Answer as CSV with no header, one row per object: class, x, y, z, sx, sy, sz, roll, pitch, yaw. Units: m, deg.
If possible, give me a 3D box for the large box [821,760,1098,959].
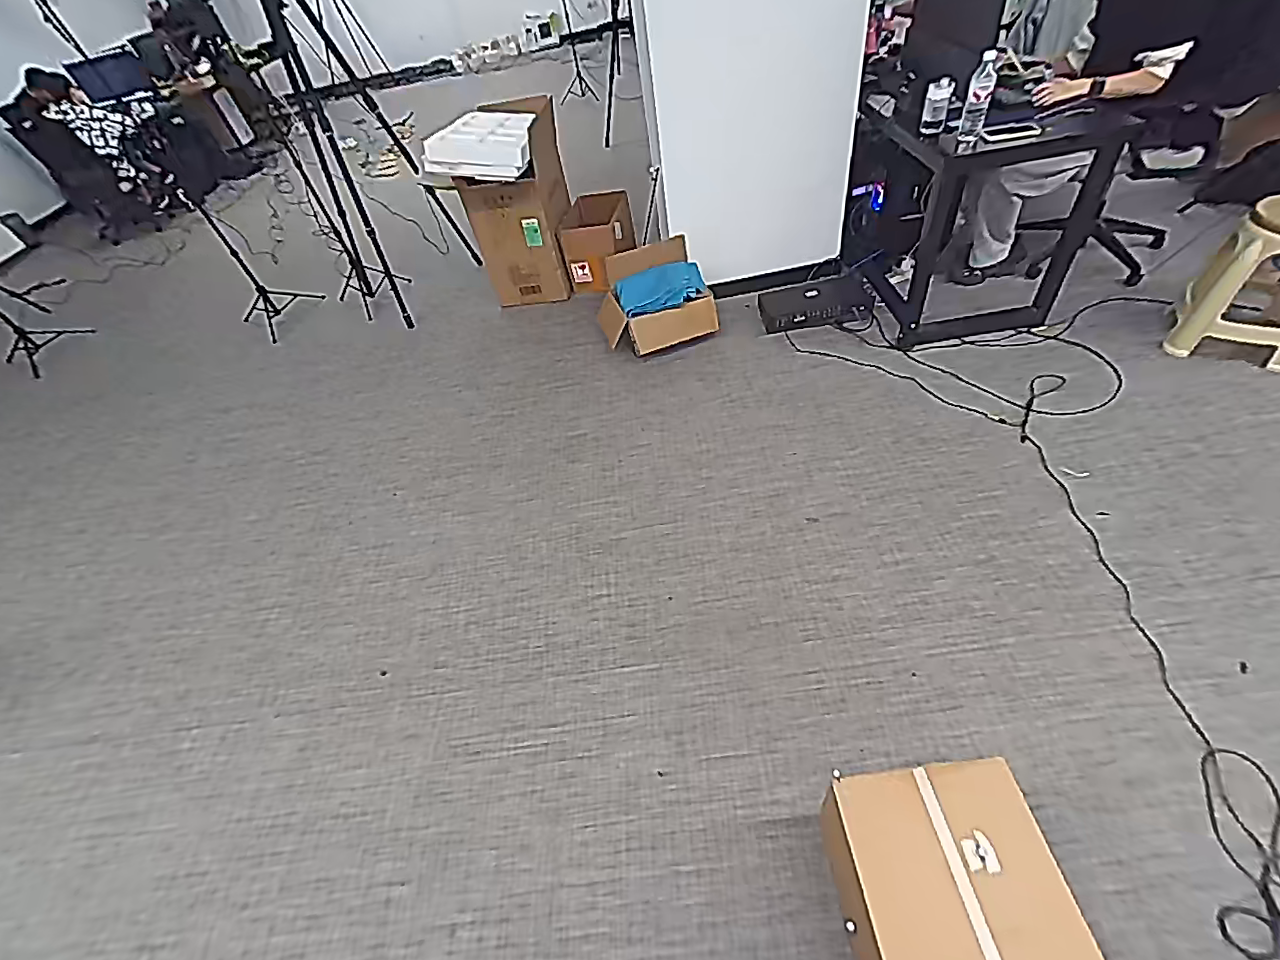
large box,0.547,0.783,0.972,0.320,0.320,0.408,-9,46,3
